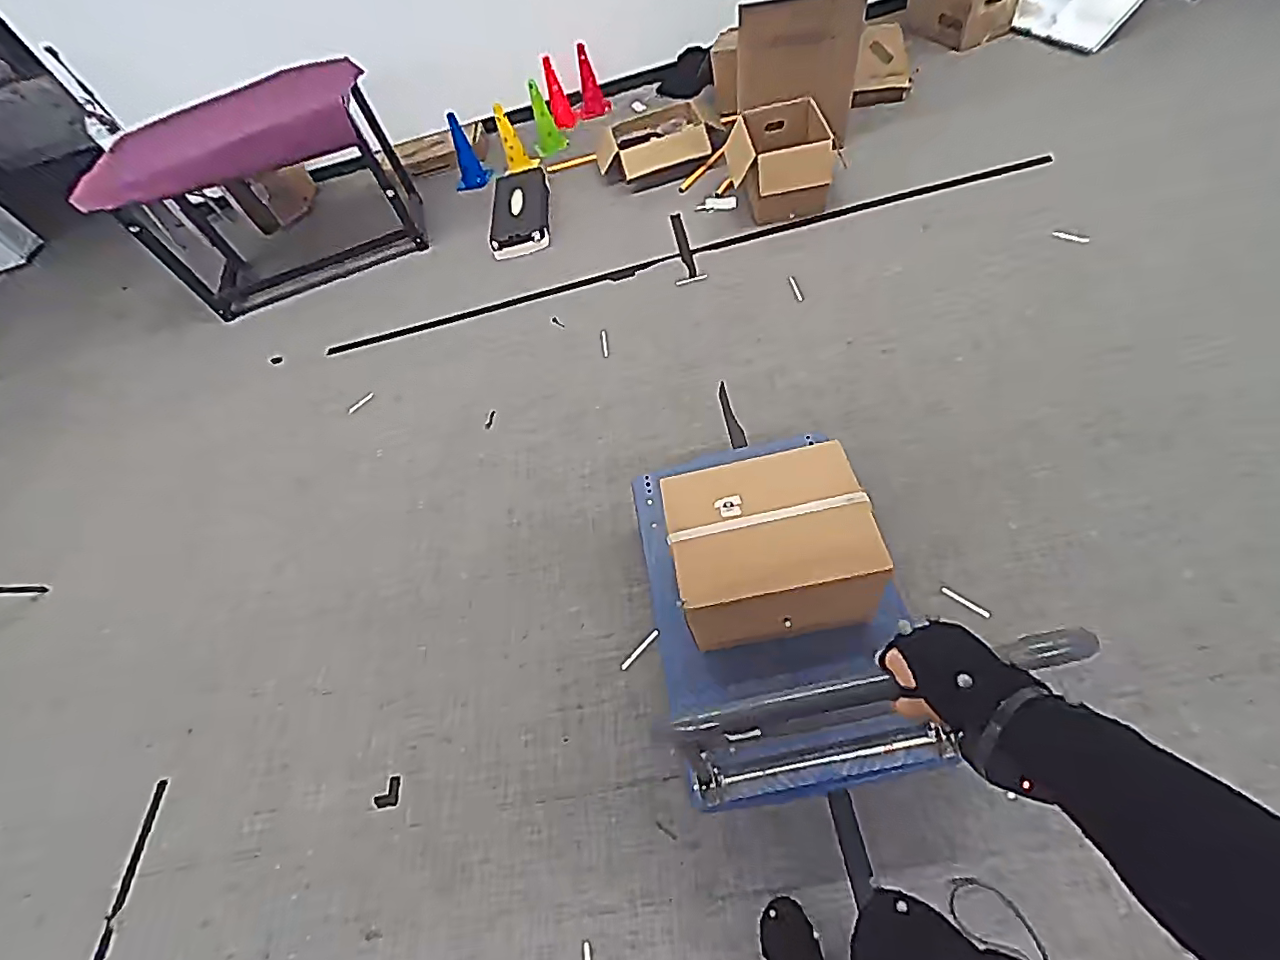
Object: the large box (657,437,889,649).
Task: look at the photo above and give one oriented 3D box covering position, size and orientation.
[{"bbox_3d":[0.284,0.156,1.224,0.408,0.320,0.320,-14,54,6],"label":"large box"}]
